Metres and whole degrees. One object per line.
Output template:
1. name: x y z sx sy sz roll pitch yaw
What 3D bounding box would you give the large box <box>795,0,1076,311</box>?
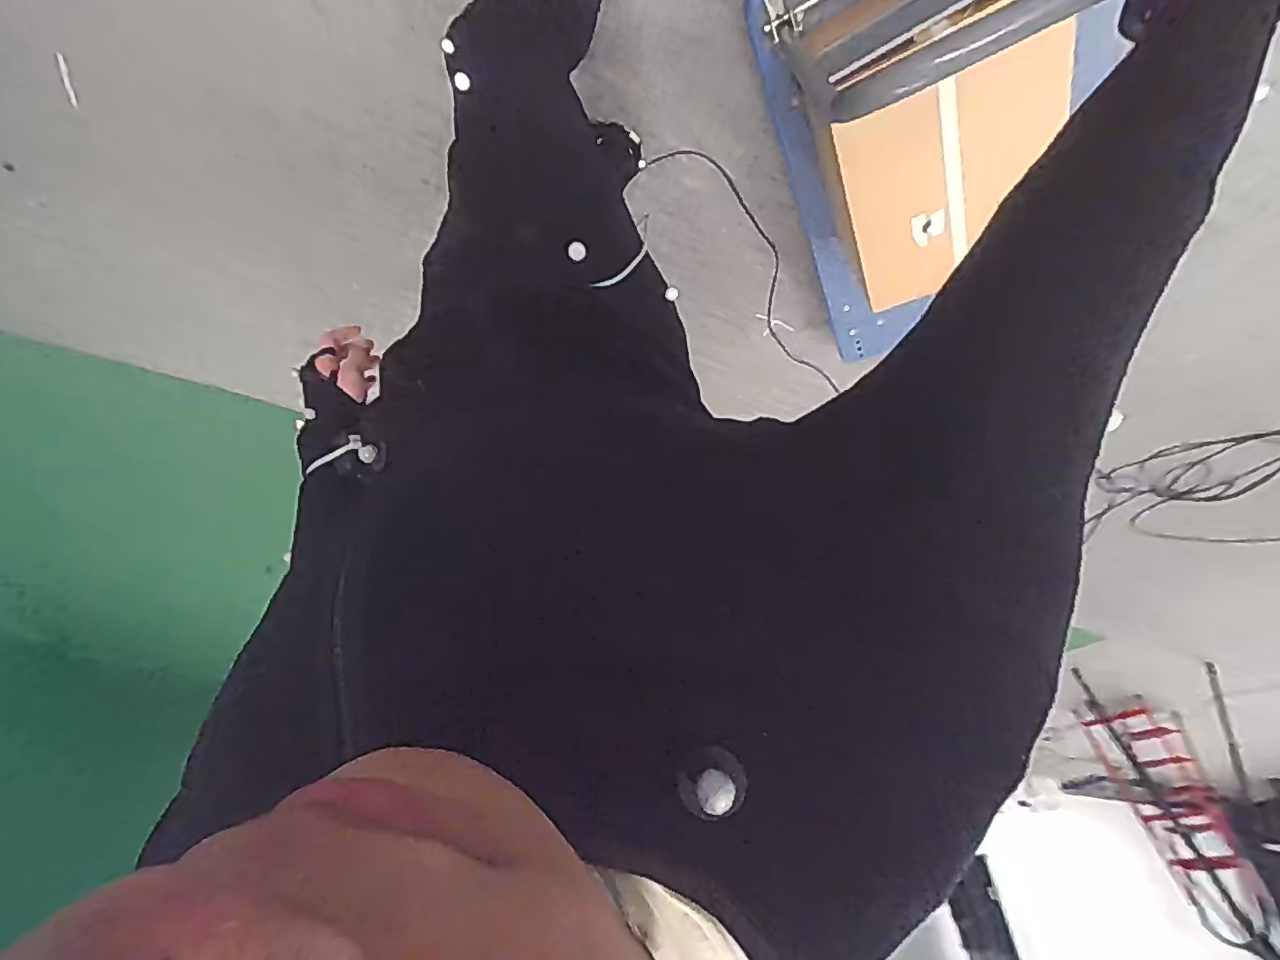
1. large box: 0.498 -0.594 0.949 0.320 0.320 0.408 -17 137 21
